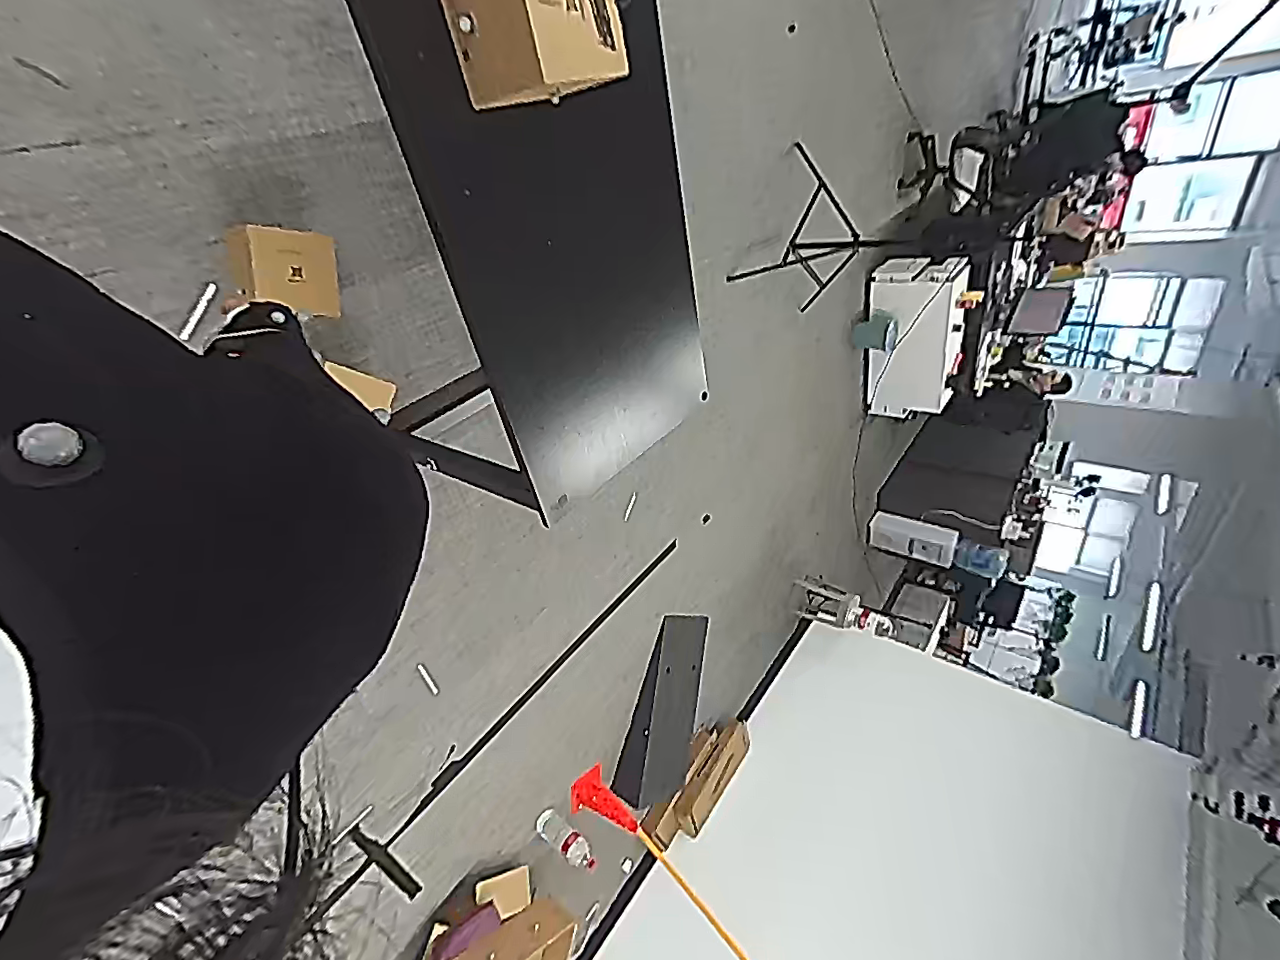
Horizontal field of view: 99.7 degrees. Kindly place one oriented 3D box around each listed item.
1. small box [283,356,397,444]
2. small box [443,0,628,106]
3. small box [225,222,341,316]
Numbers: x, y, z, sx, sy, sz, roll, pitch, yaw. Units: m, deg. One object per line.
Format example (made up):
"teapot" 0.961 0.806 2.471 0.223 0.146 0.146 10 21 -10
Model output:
"small box" -0.753 -0.204 1.358 0.179 0.176 0.168 18 89 -52
"small box" -0.146 -0.644 0.757 0.179 0.176 0.168 -40 131 -35
"small box" -0.798 -0.465 1.210 0.168 0.176 0.179 -17 115 -48
